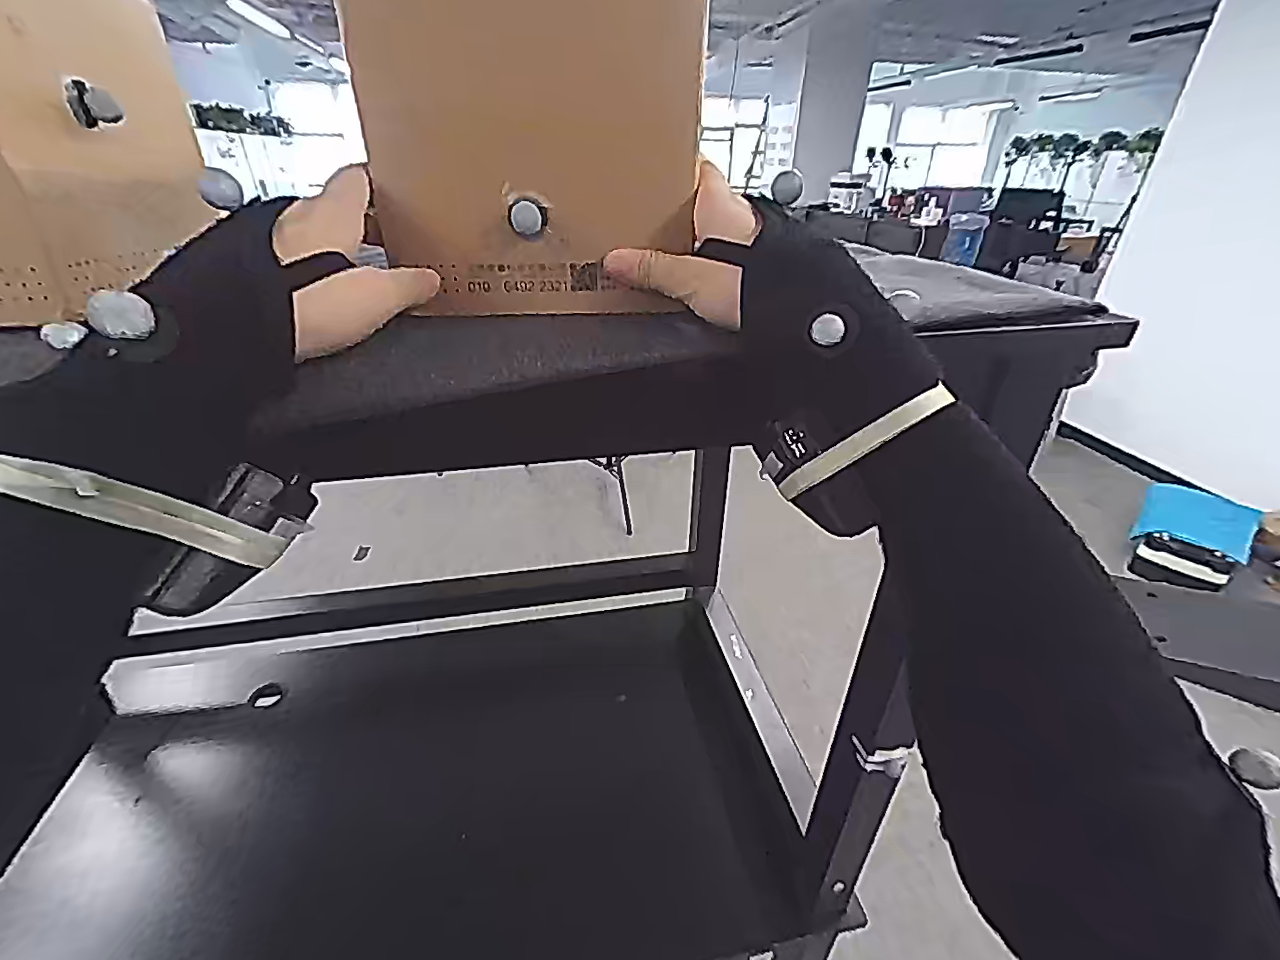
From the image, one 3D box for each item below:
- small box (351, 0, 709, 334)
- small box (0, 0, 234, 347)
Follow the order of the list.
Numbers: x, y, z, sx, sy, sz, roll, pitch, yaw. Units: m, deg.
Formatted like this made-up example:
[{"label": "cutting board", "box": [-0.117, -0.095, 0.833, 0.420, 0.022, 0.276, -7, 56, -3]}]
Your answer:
[{"label": "small box", "box": [-0.057, -0.198, 0.344, 0.168, 0.176, 0.179, -2, 30, -5]}, {"label": "small box", "box": [-0.366, -0.172, 0.293, 0.168, 0.176, 0.179, -5, 29, -10]}]
